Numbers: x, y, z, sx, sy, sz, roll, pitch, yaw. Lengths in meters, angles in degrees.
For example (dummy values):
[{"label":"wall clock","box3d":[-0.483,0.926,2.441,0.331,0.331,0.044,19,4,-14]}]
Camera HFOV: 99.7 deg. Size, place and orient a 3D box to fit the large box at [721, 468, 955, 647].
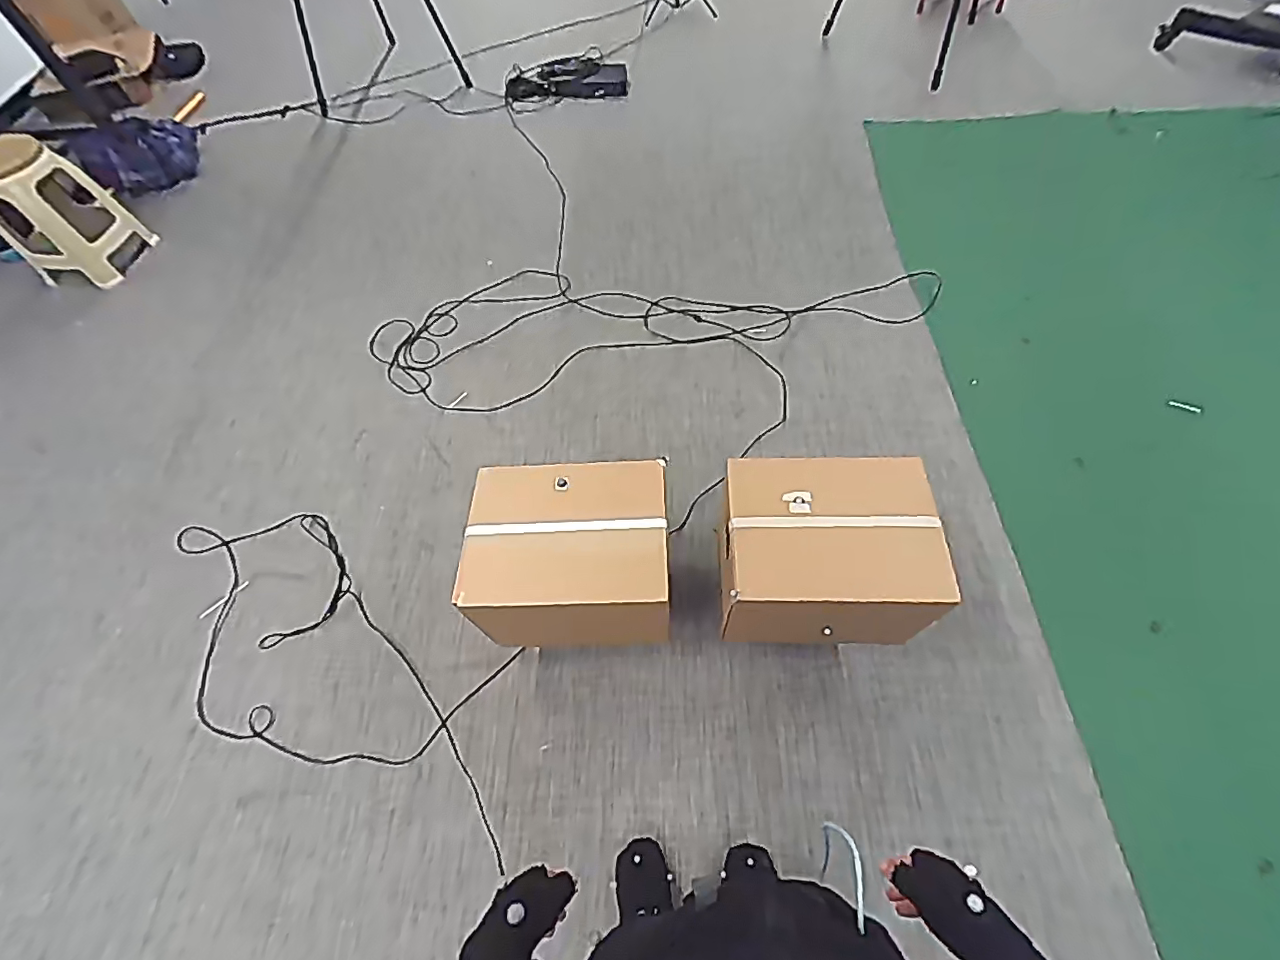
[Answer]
[{"label":"large box","box3d":[0.395,0.185,1.204,0.408,0.320,0.320,0,59,4]}]
